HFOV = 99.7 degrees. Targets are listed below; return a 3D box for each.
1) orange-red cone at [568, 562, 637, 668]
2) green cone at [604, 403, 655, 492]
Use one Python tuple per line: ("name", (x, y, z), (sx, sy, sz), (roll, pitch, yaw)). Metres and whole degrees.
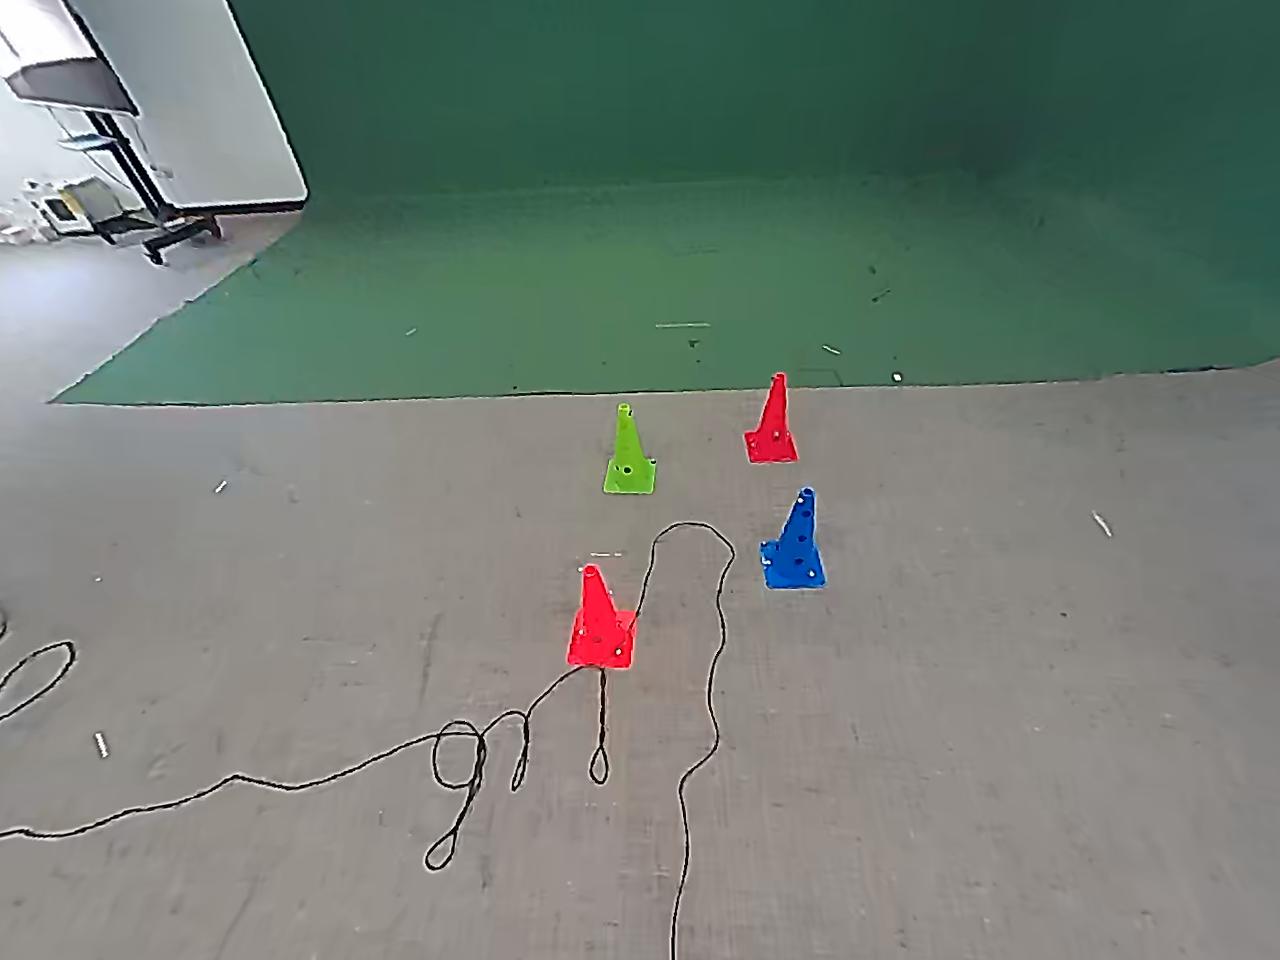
("orange-red cone", (-0.122, 0.363, 1.577), (0.198, 0.360, 0.199), (3, 43, 7))
("green cone", (-0.053, -0.147, 2.096), (0.200, 0.368, 0.202), (0, 45, 6))
